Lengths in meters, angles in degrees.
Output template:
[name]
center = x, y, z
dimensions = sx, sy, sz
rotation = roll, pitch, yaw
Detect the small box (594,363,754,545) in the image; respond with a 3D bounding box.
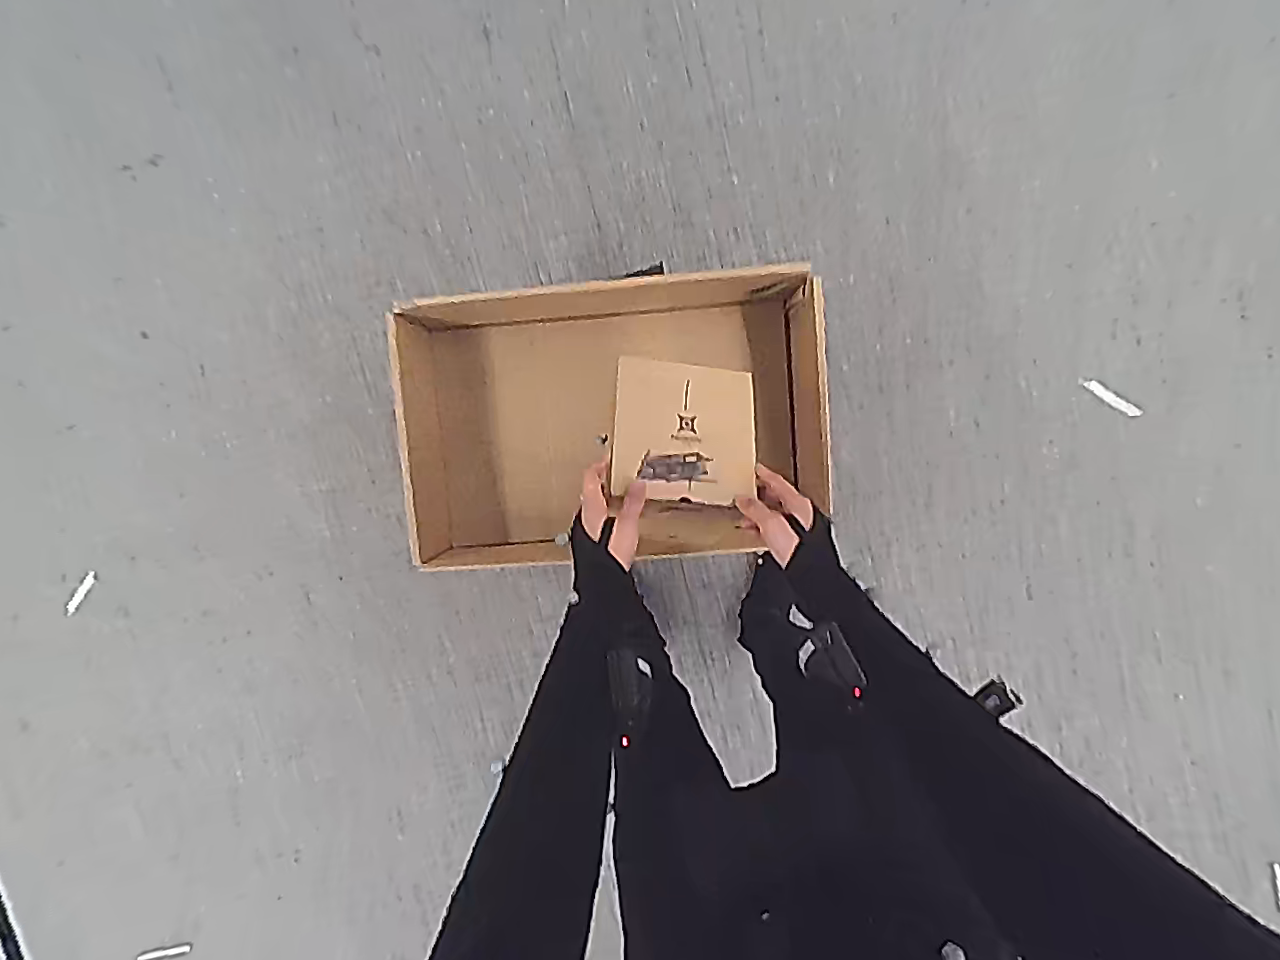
[small box]
center = 0.034, -0.021, 0.675
dimensions = 0.168, 0.176, 0.179
rotation = 5, 71, -9
